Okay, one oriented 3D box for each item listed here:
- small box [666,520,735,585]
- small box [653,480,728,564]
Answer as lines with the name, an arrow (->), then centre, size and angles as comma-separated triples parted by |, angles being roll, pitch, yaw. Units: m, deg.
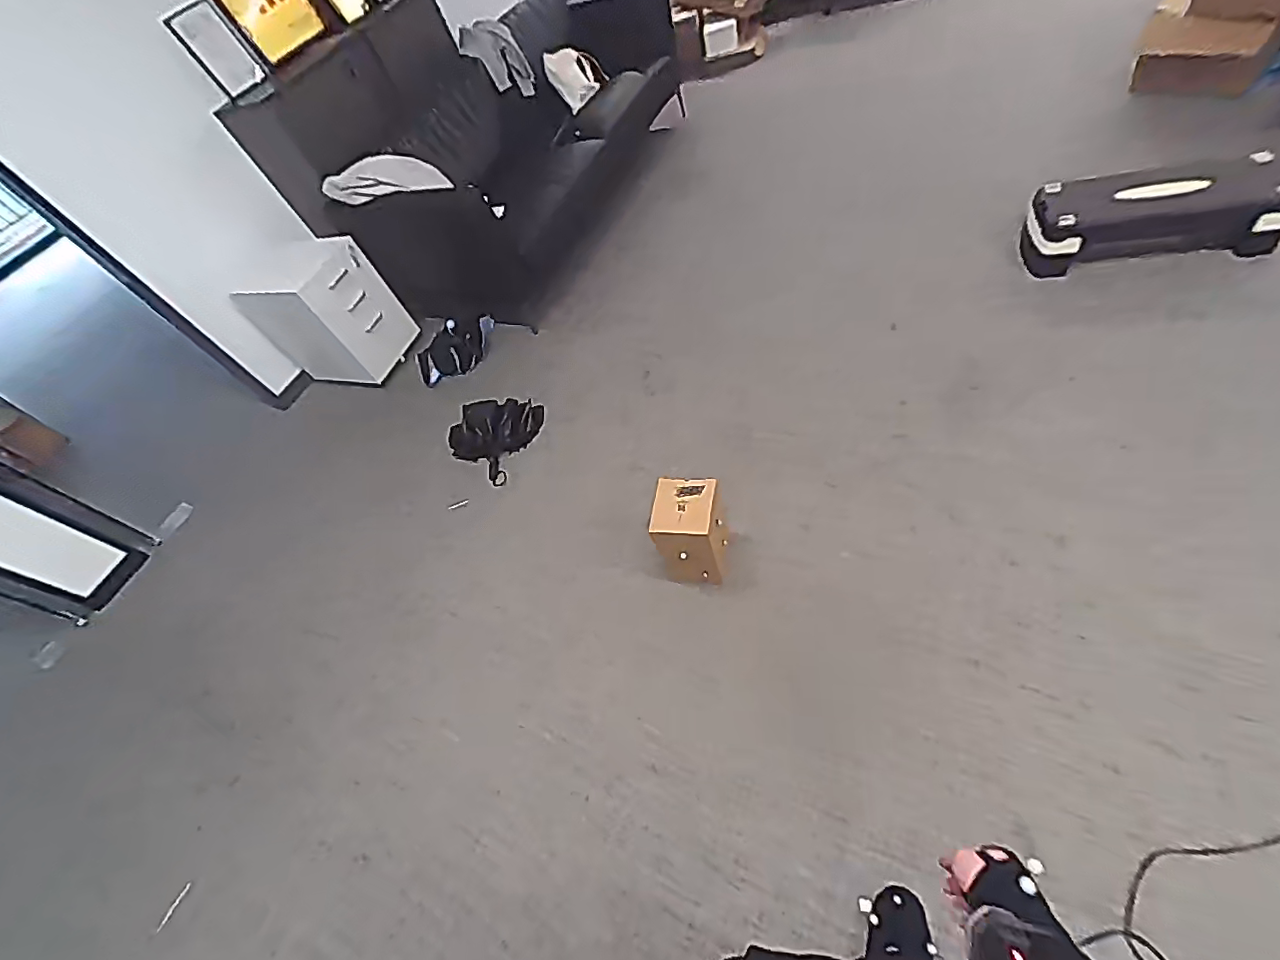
small box -> 0.191, 0.207, 1.646 | 0.168, 0.176, 0.179 | 0, 54, 20
small box -> 0.149, 0.117, 1.515 | 0.168, 0.176, 0.179 | 0, 57, 21
